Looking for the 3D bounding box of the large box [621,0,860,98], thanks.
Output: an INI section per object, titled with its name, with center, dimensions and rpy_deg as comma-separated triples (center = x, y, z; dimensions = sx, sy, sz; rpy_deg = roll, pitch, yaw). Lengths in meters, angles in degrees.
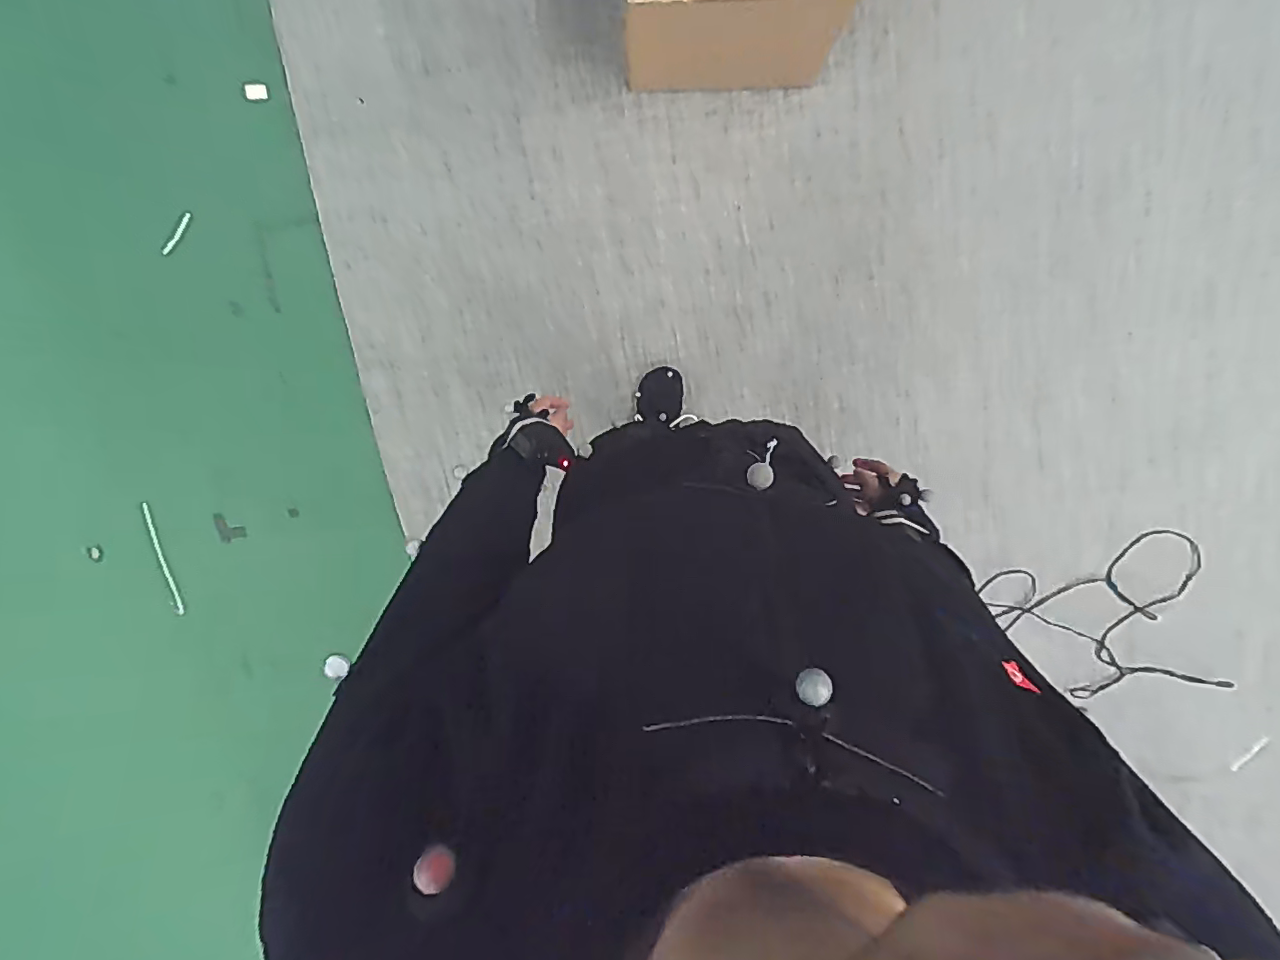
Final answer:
[large box]
center = 0.165, -0.967, 1.012
dimensions = 0.408, 0.320, 0.320
rpy_deg = -3, 103, 0
